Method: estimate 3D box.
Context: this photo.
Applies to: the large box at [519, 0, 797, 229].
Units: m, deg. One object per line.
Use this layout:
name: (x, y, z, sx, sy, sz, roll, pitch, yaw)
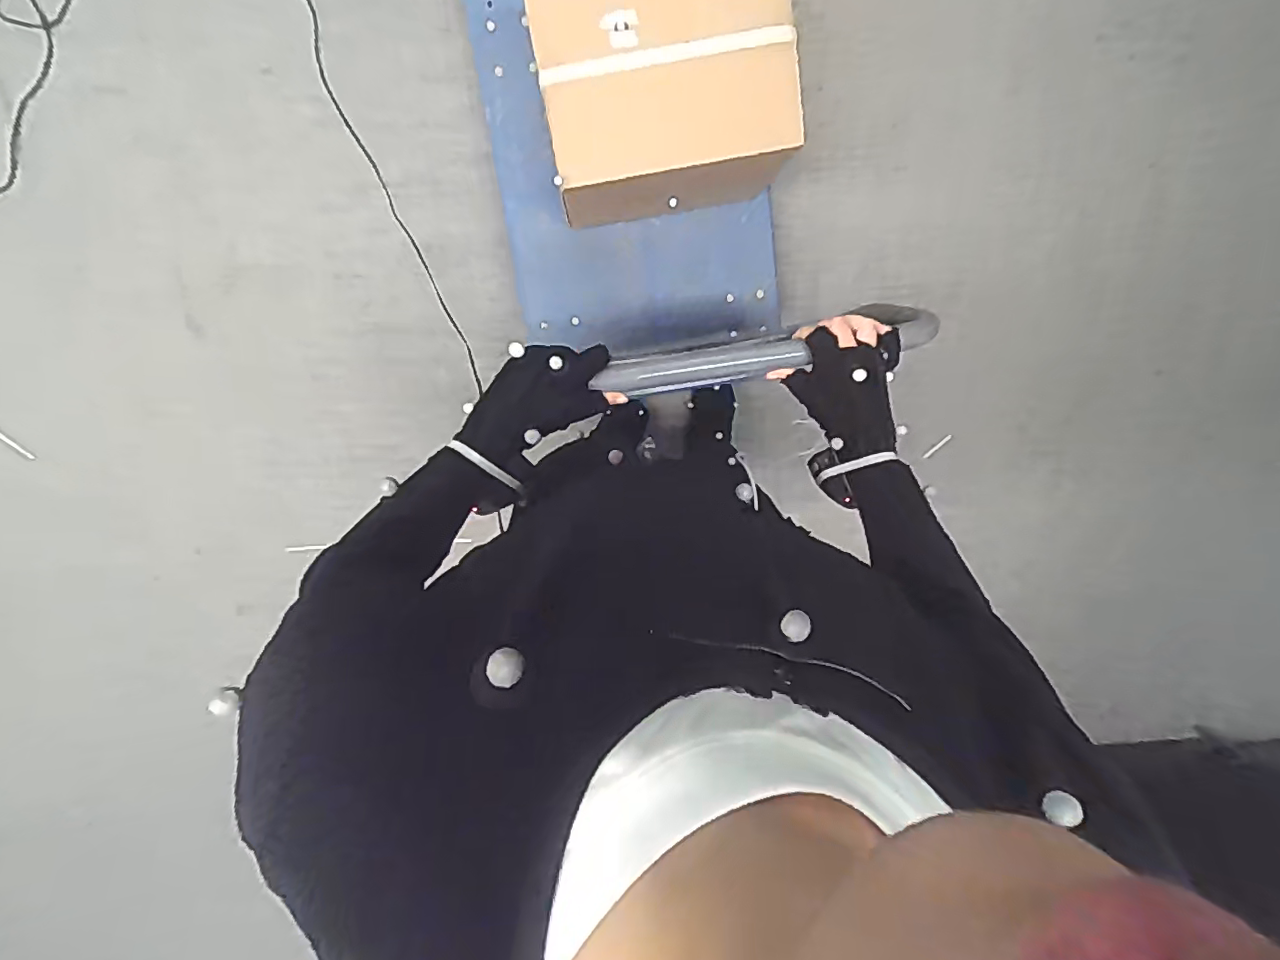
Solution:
large box: (0.029, -0.687, 0.990, 0.408, 0.320, 0.320, -11, 102, 0)
